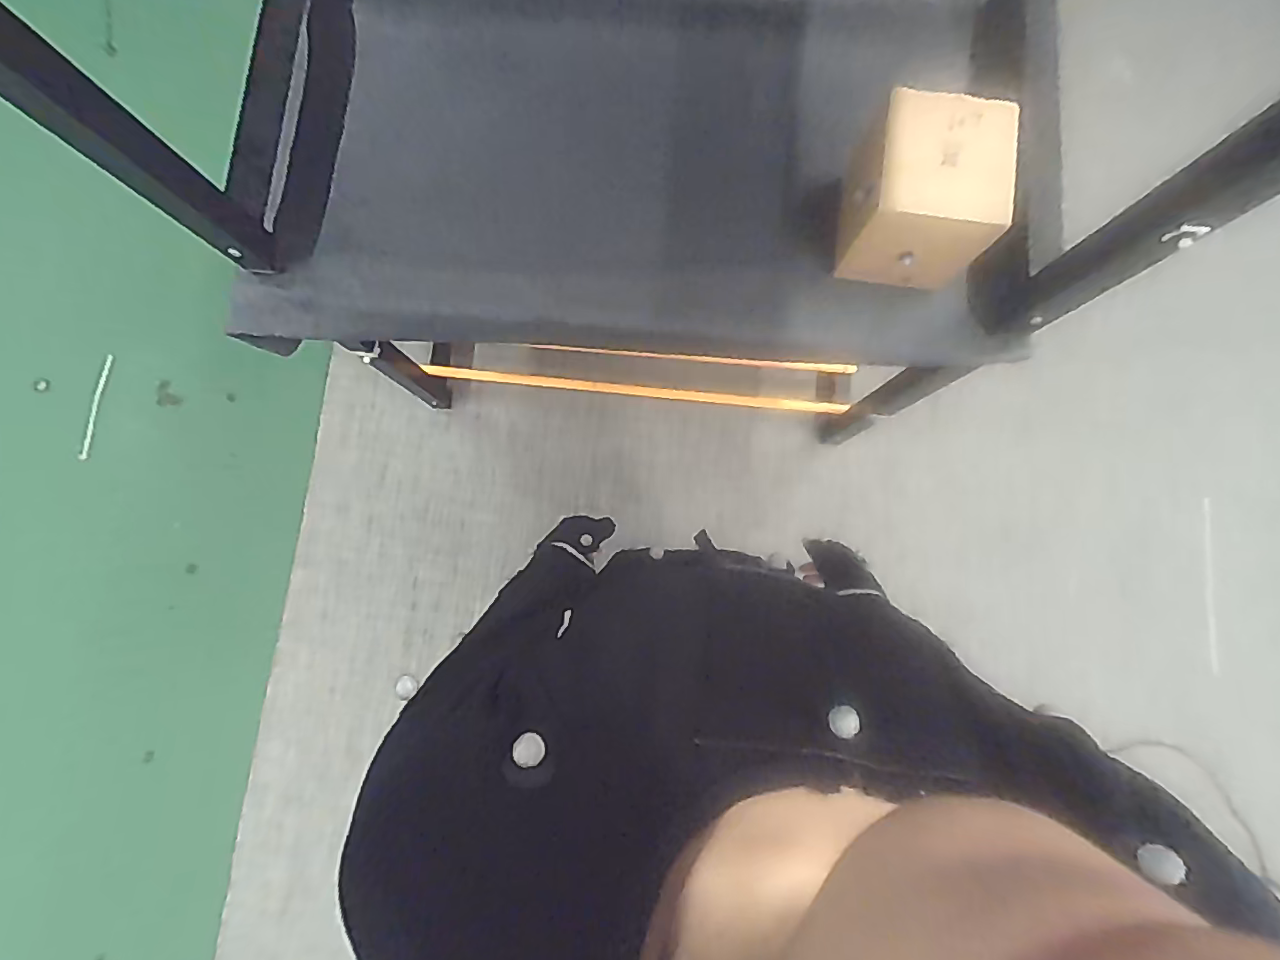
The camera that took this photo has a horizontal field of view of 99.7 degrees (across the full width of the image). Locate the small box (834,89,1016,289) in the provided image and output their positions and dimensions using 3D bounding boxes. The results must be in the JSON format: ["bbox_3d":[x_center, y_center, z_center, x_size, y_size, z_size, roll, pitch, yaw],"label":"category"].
[{"bbox_3d":[0.384,-0.392,0.756,0.168,0.176,0.179,9,81,1],"label":"small box"}]
